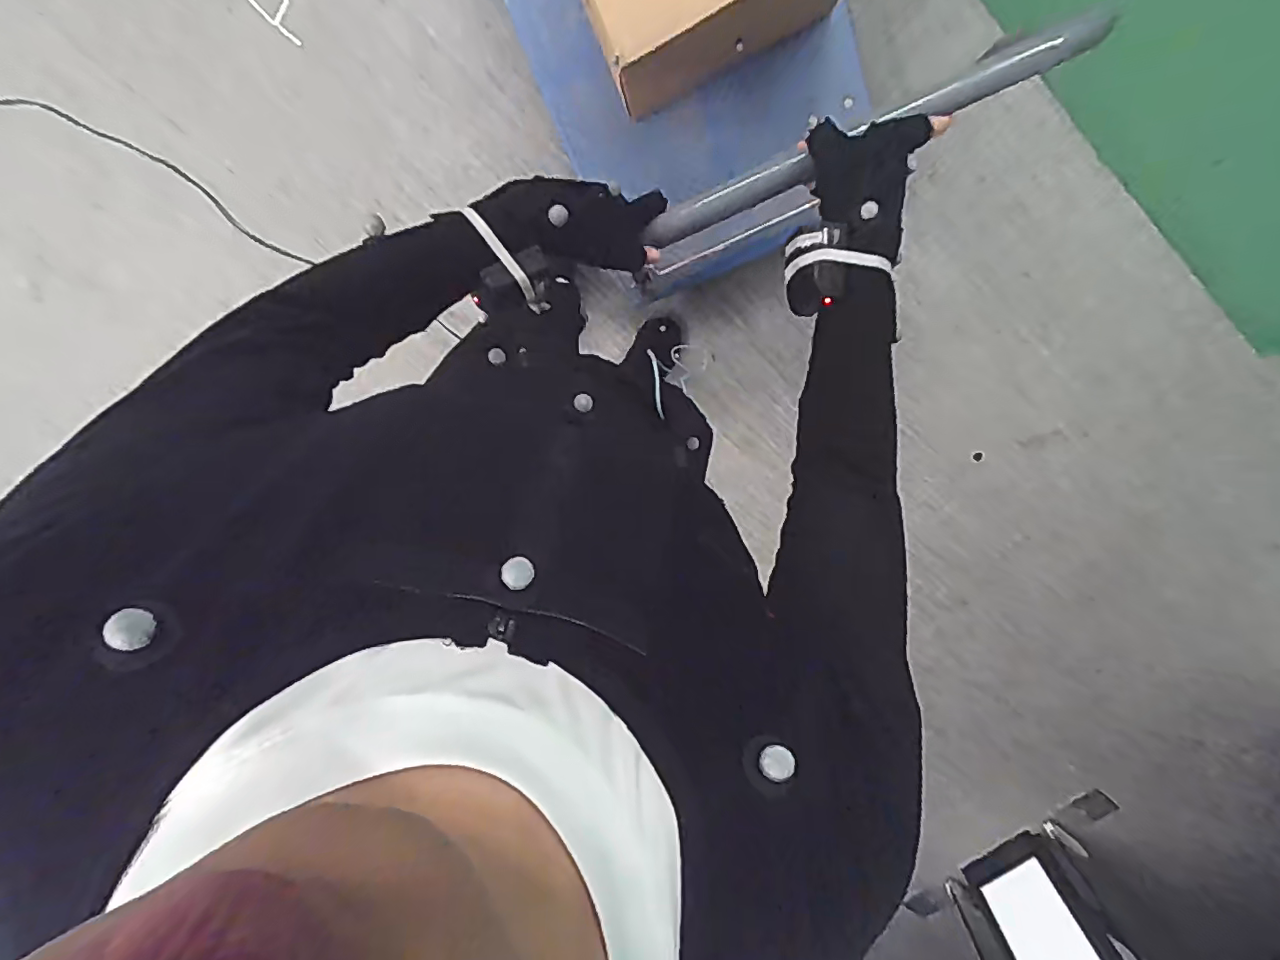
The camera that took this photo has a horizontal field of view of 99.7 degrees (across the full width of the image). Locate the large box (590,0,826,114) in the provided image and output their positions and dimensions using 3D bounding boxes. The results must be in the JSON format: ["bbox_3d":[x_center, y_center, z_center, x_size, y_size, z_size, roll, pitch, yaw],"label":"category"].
[{"bbox_3d":[0.101,-0.873,0.852,0.408,0.320,0.320,-24,108,13],"label":"large box"}]
